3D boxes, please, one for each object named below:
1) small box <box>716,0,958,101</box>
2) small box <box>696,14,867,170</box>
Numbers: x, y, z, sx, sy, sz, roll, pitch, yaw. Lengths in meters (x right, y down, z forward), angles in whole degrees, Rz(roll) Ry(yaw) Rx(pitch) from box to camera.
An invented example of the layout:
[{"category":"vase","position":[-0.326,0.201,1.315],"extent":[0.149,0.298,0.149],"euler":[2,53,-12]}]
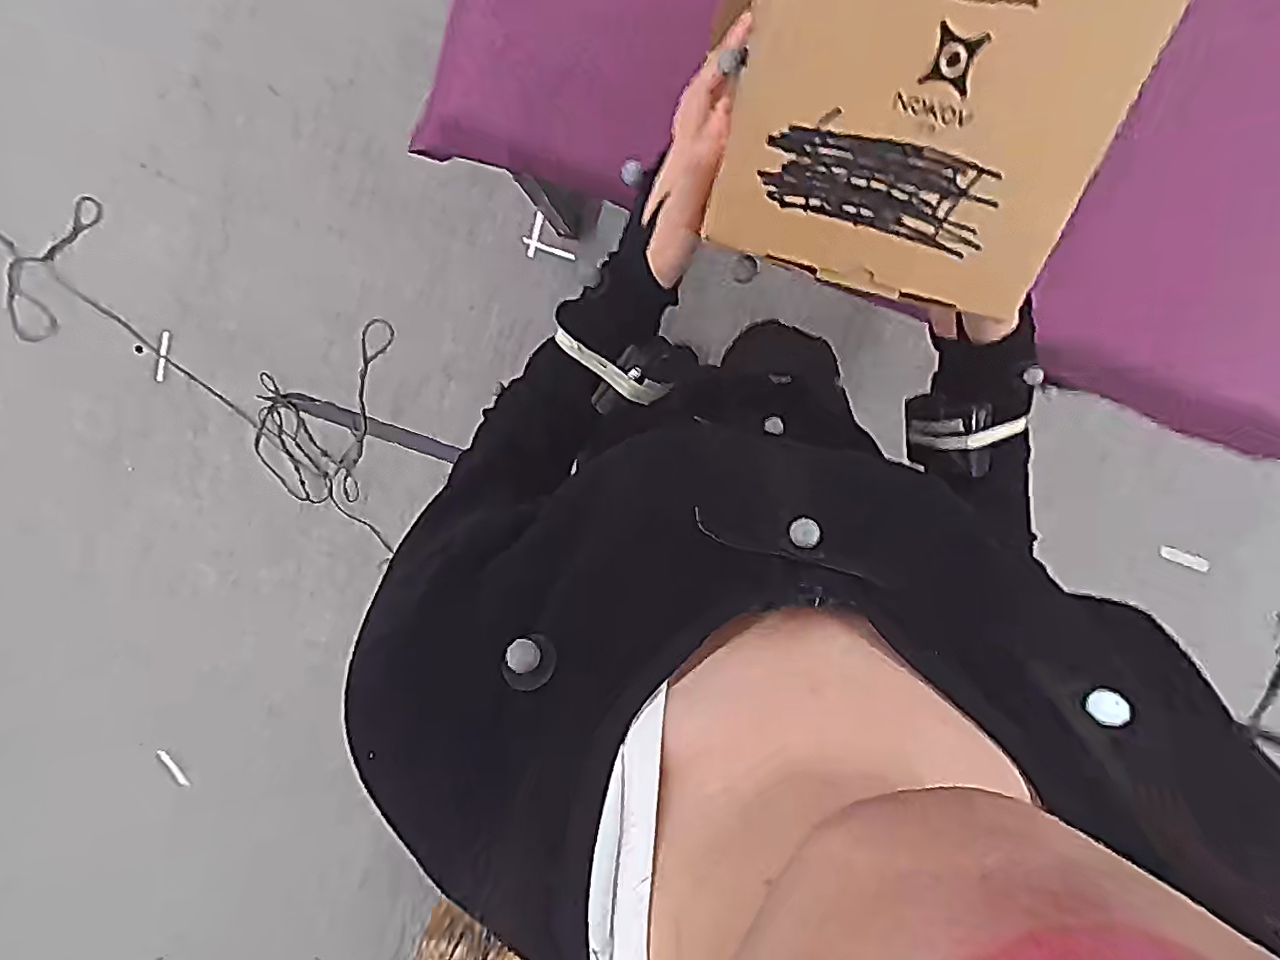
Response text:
[{"category":"small box","position":[0.164,-0.437,0.413],"extent":[0.168,0.176,0.179],"euler":[17,102,-3]},{"category":"small box","position":[0.165,-0.467,0.575],"extent":[0.168,0.176,0.179],"euler":[19,101,-4]}]
